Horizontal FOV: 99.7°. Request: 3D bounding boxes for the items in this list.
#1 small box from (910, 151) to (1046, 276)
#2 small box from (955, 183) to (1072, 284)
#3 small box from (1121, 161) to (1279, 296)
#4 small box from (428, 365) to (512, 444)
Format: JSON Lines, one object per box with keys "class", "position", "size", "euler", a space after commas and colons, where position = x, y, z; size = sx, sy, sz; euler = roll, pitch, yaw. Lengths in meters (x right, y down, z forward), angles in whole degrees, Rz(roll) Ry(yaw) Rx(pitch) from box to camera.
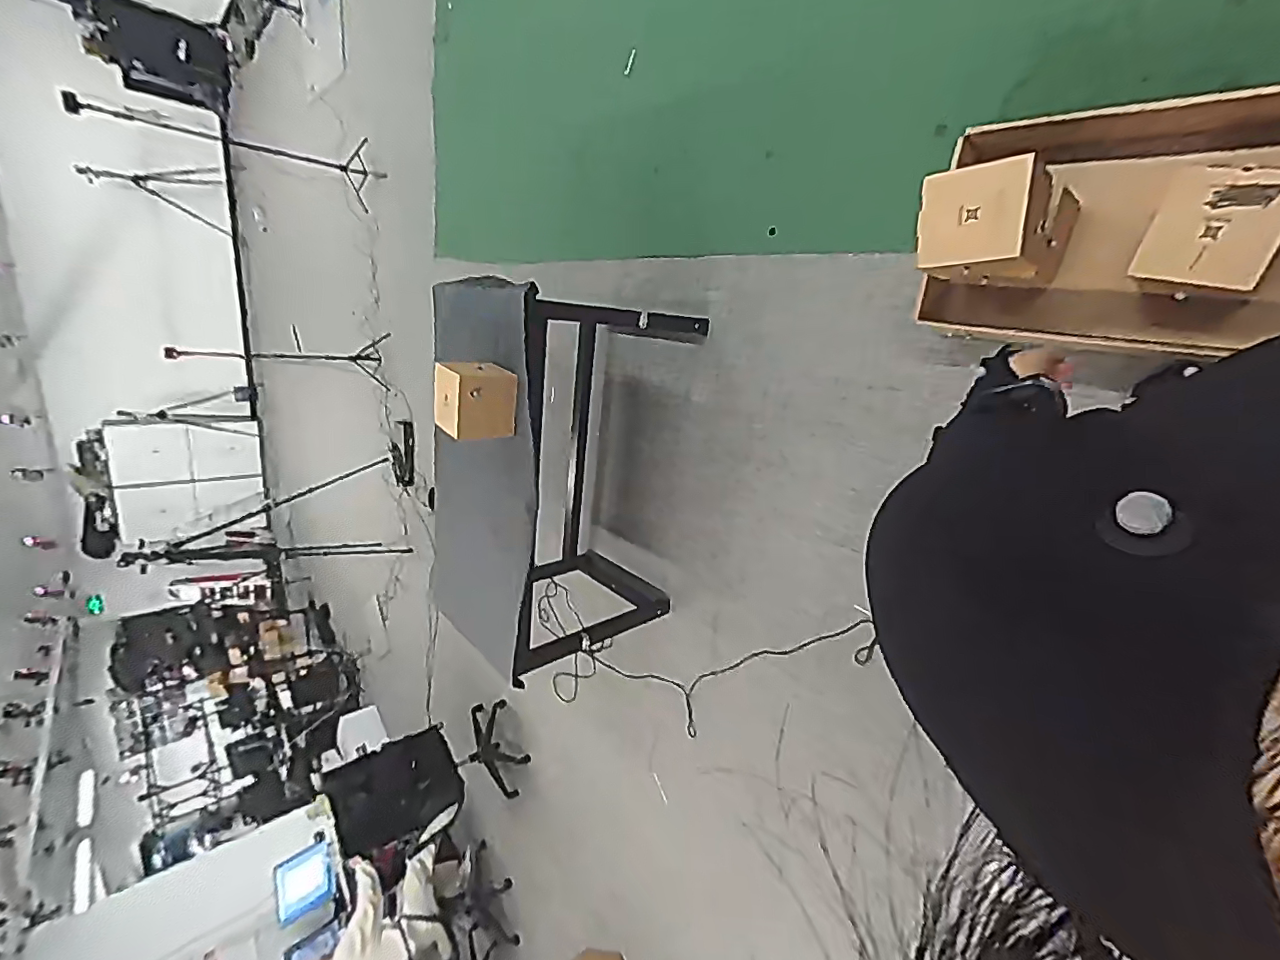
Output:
{"class": "small box", "position": [0.638, -0.488, 1.022], "size": [0.179, 0.176, 0.168], "euler": [11, 107, 43]}
{"class": "small box", "position": [0.760, -0.509, 1.130], "size": [0.179, 0.176, 0.168], "euler": [25, 116, 42]}
{"class": "small box", "position": [0.972, -0.423, 0.921], "size": [0.168, 0.176, 0.179], "euler": [32, 121, 40]}
{"class": "small box", "position": [-0.467, -0.212, 1.485], "size": [0.168, 0.176, 0.179], "euler": [29, 118, 43]}
